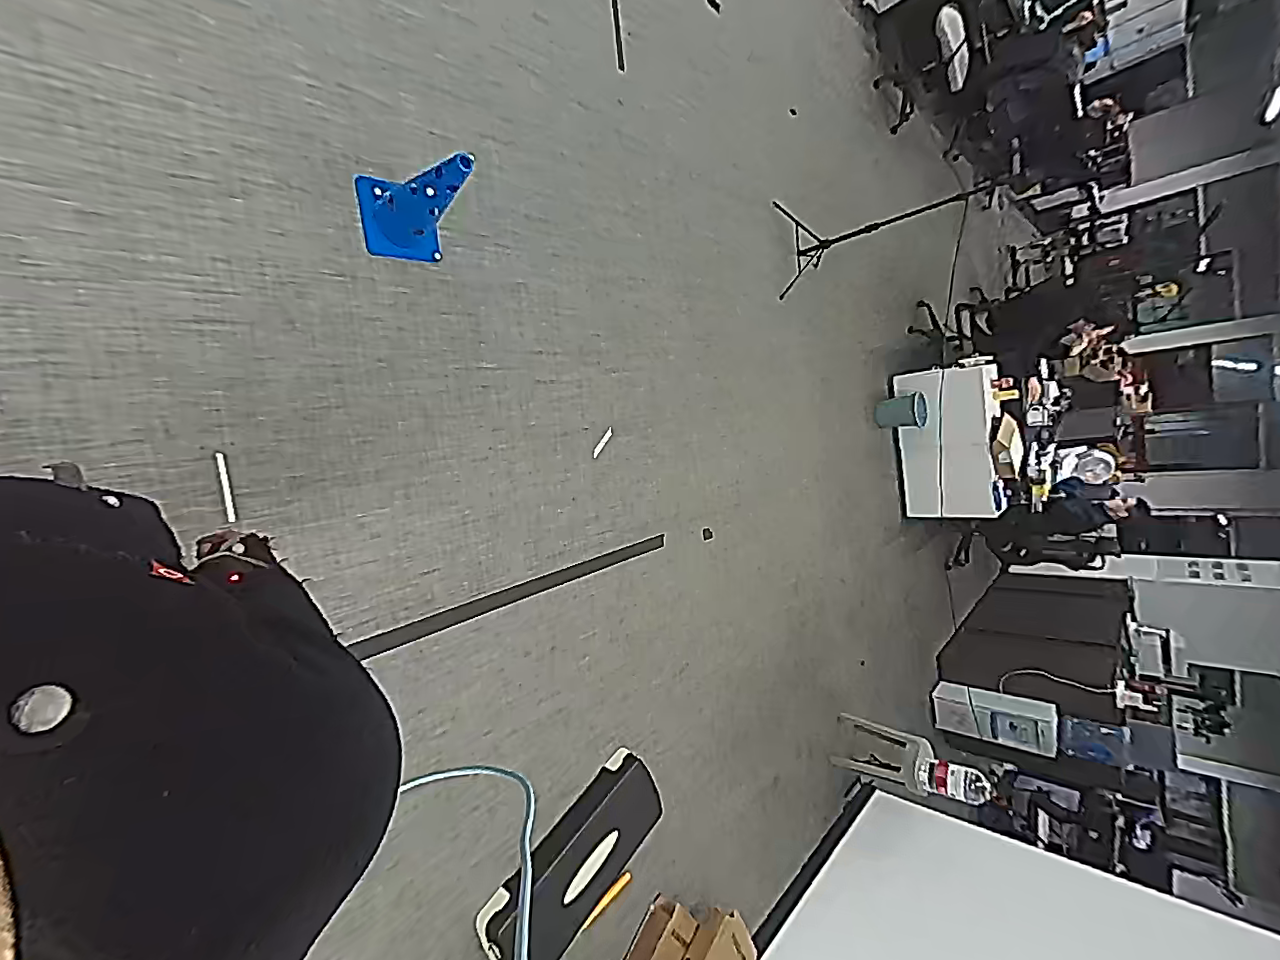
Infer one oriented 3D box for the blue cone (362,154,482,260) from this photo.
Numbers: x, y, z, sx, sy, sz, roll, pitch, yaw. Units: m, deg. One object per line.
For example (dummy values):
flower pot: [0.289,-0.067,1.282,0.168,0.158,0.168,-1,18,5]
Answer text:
blue cone: [-0.506,-0.689,1.307,0.192,0.380,0.193,-11,96,-47]
